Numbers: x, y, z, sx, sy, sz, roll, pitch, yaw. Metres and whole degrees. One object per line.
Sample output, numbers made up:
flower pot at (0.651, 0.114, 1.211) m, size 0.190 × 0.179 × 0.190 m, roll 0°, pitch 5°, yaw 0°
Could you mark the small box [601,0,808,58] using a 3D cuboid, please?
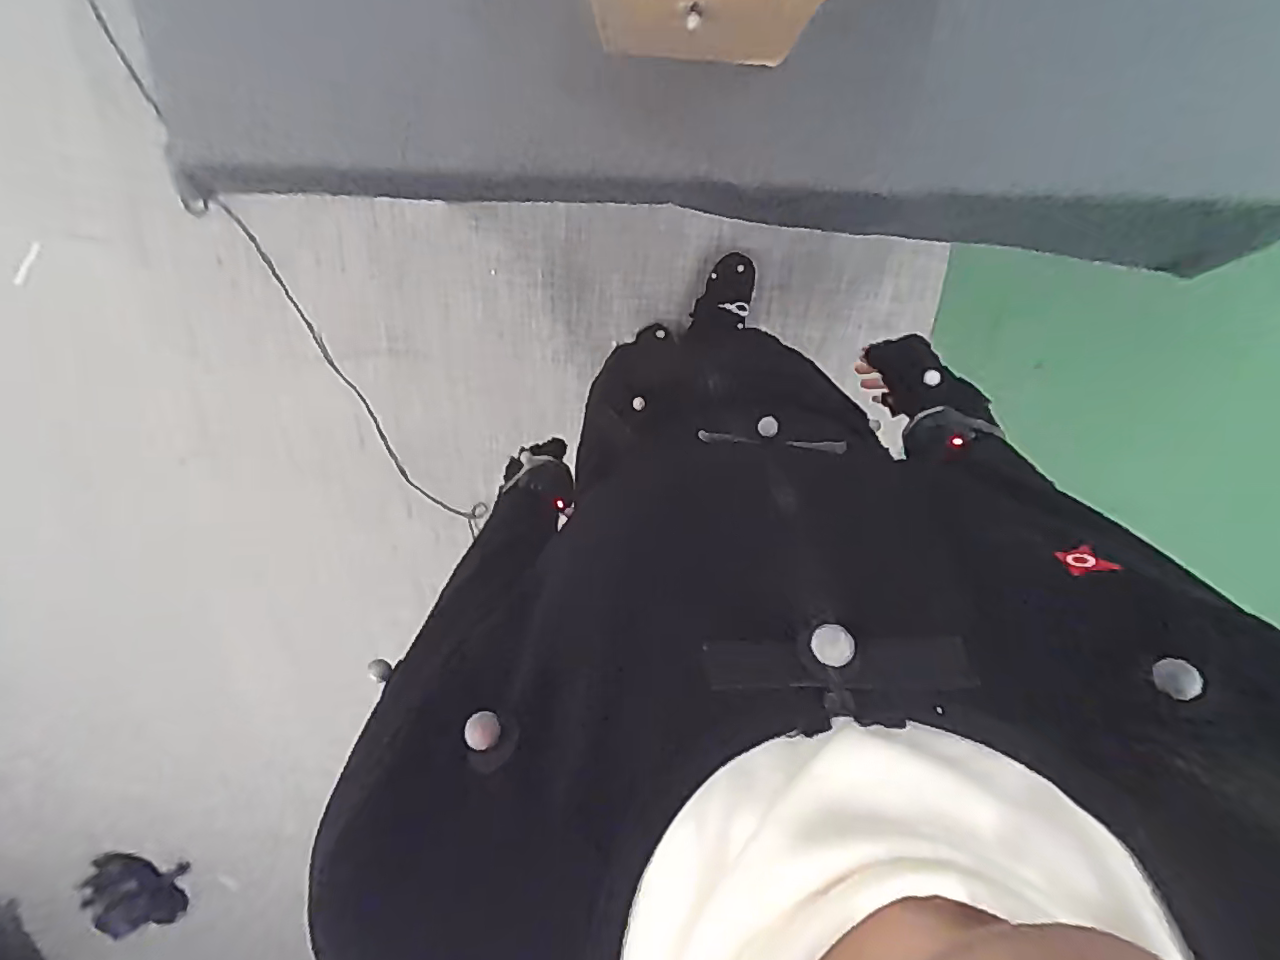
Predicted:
small box at (0.056, -0.460, 0.426) m, size 0.179 × 0.176 × 0.168 m, roll 4°, pitch 114°, yaw 1°
